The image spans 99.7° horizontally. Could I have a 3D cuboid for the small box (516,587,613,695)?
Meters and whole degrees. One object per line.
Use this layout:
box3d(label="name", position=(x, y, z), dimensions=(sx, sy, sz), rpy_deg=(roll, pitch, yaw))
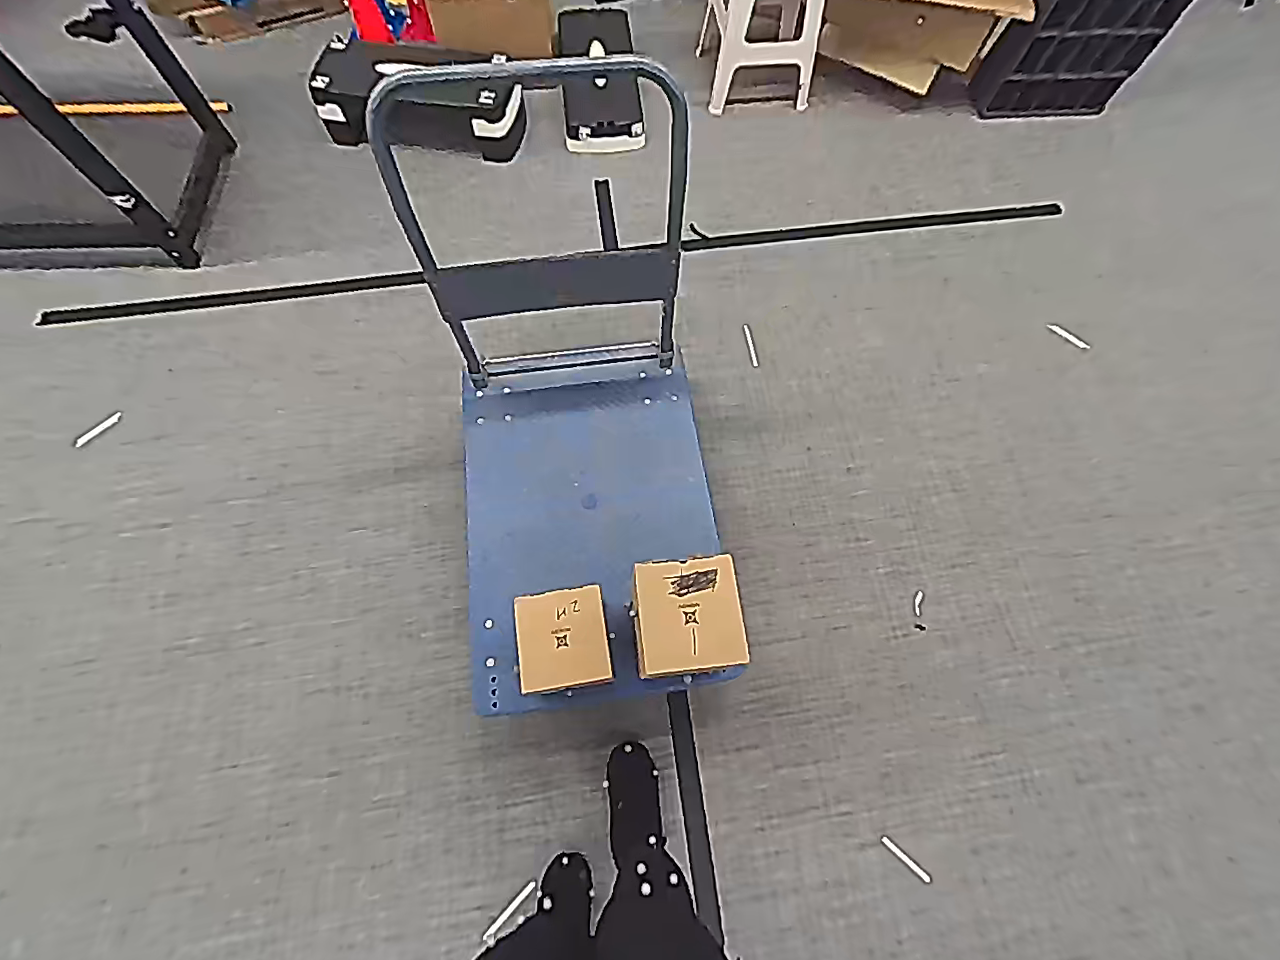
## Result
box3d(label="small box", position=(-0.146, 0.325, 1.077), dimensions=(0.168, 0.176, 0.179), rpy_deg=(-8, 68, -6))

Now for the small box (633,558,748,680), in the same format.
box3d(label="small box", position=(0.077, 0.245, 0.939), dimensions=(0.168, 0.176, 0.179), rpy_deg=(-5, 69, -4))
